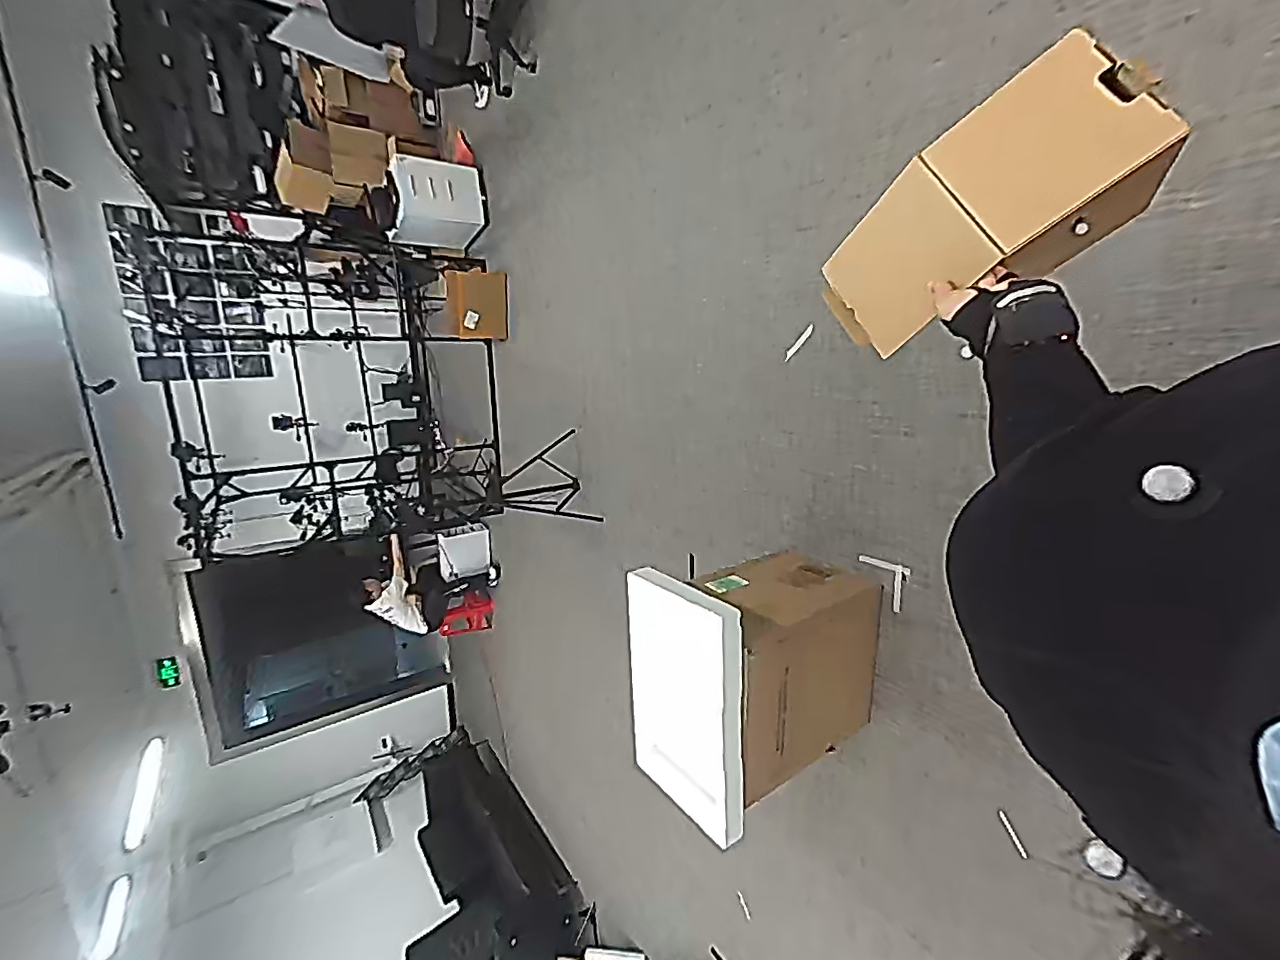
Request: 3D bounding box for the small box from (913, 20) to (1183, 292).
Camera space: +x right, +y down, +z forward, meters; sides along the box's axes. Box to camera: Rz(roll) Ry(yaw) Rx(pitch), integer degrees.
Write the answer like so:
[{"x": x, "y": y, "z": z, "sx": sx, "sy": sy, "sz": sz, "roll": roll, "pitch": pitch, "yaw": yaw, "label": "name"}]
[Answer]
[{"x": 0.453, "y": -0.353, "z": 0.630, "sx": 0.179, "sy": 0.176, "sz": 0.168, "roll": -35, "pitch": 71, "yaw": 26, "label": "small box"}]
